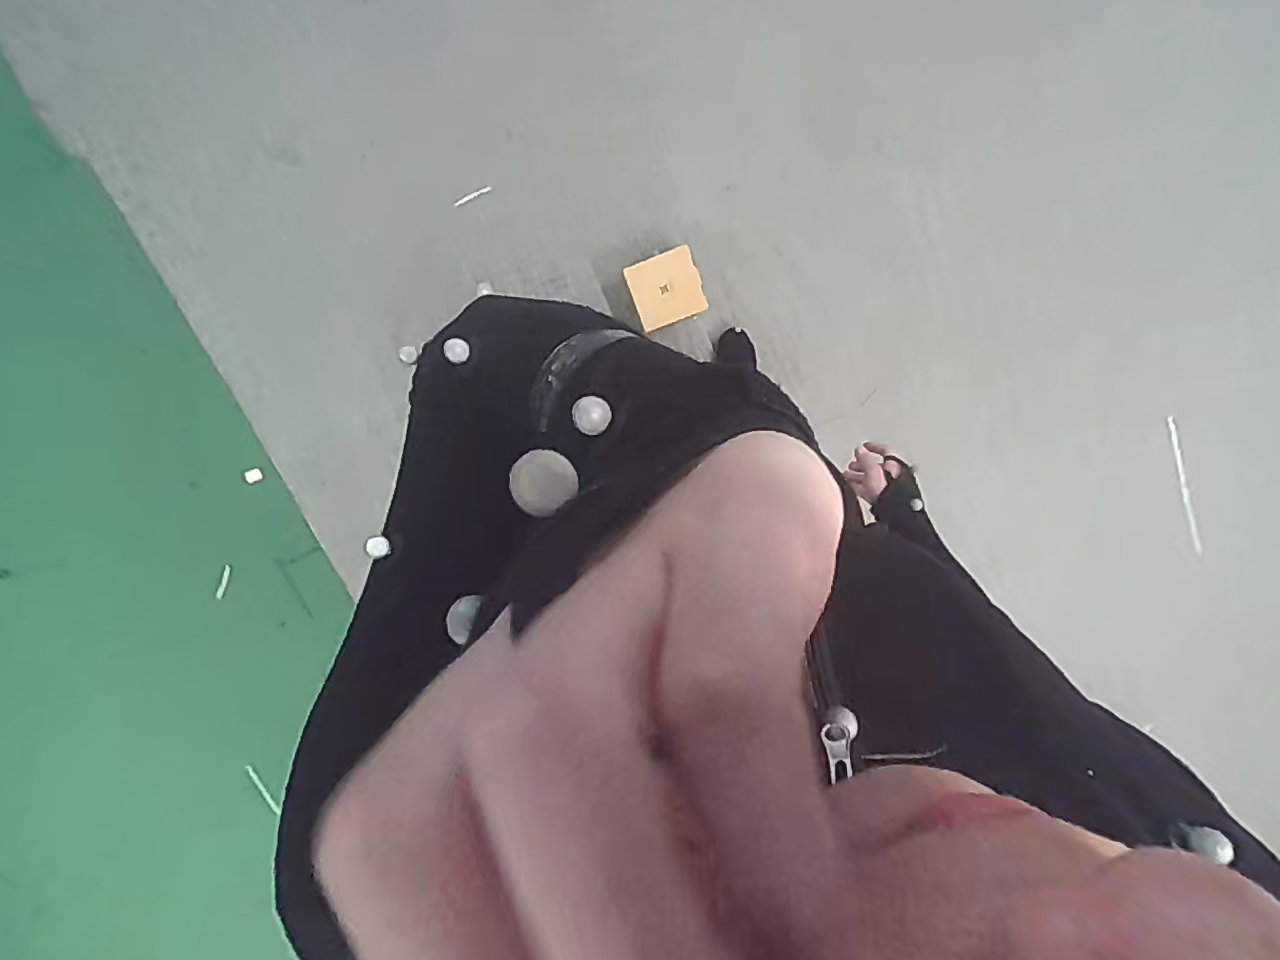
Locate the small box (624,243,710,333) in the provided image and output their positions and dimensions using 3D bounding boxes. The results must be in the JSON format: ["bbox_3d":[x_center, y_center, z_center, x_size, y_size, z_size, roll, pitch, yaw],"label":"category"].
[{"bbox_3d":[0.069,-0.494,1.419,0.179,0.176,0.168,-21,102,3],"label":"small box"}]
